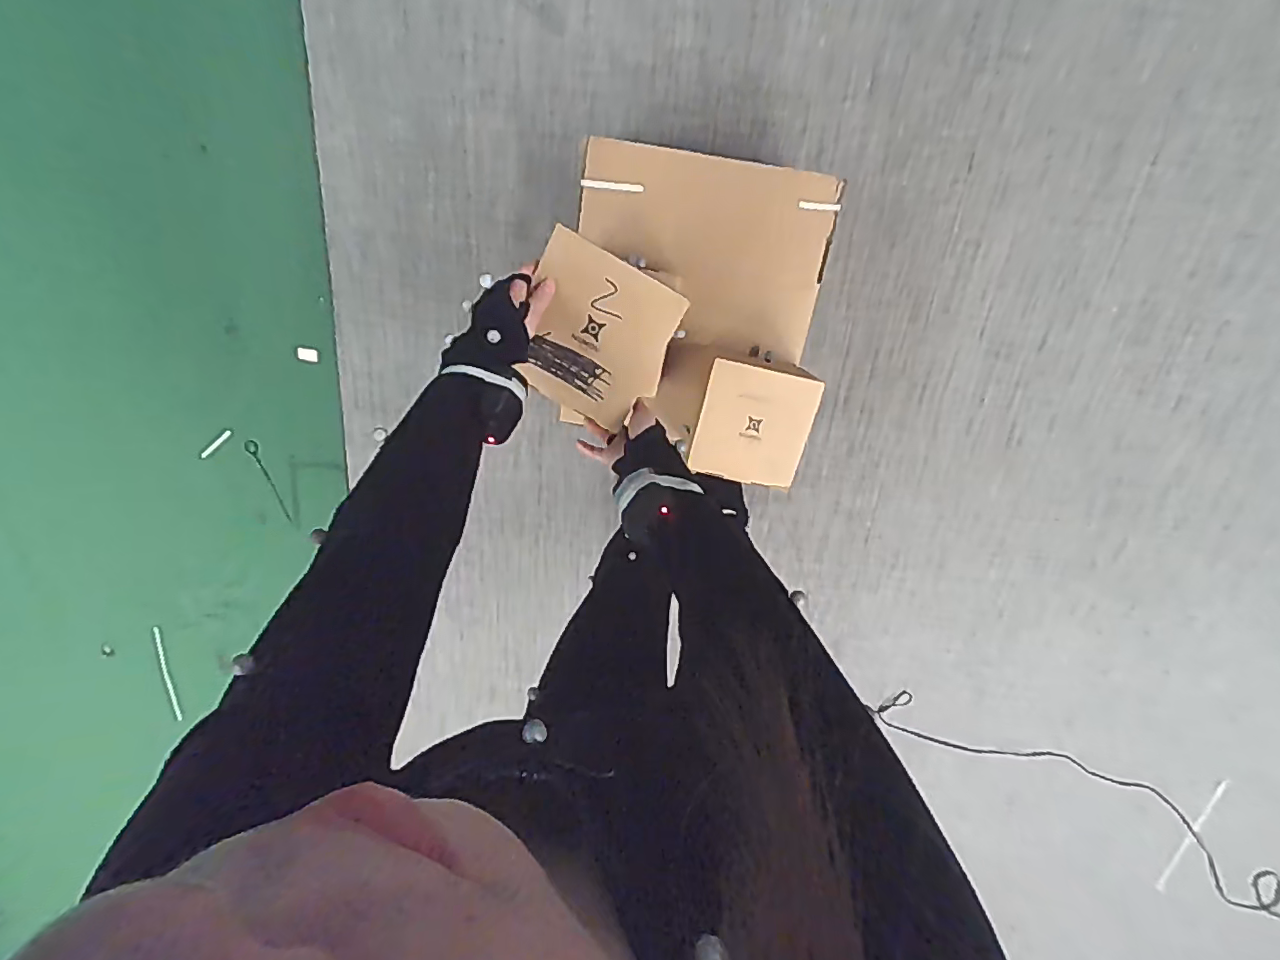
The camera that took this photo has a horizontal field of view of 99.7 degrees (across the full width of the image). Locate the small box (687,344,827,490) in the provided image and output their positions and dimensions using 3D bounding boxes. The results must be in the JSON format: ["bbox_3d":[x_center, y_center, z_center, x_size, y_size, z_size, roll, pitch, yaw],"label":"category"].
[{"bbox_3d":[0.175,-0.108,0.870,0.168,0.176,0.179,13,110,-2],"label":"small box"}]

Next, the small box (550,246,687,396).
[{"bbox_3d":[-0.029,-0.245,0.834,0.168,0.176,0.179,13,109,0],"label":"small box"}]
